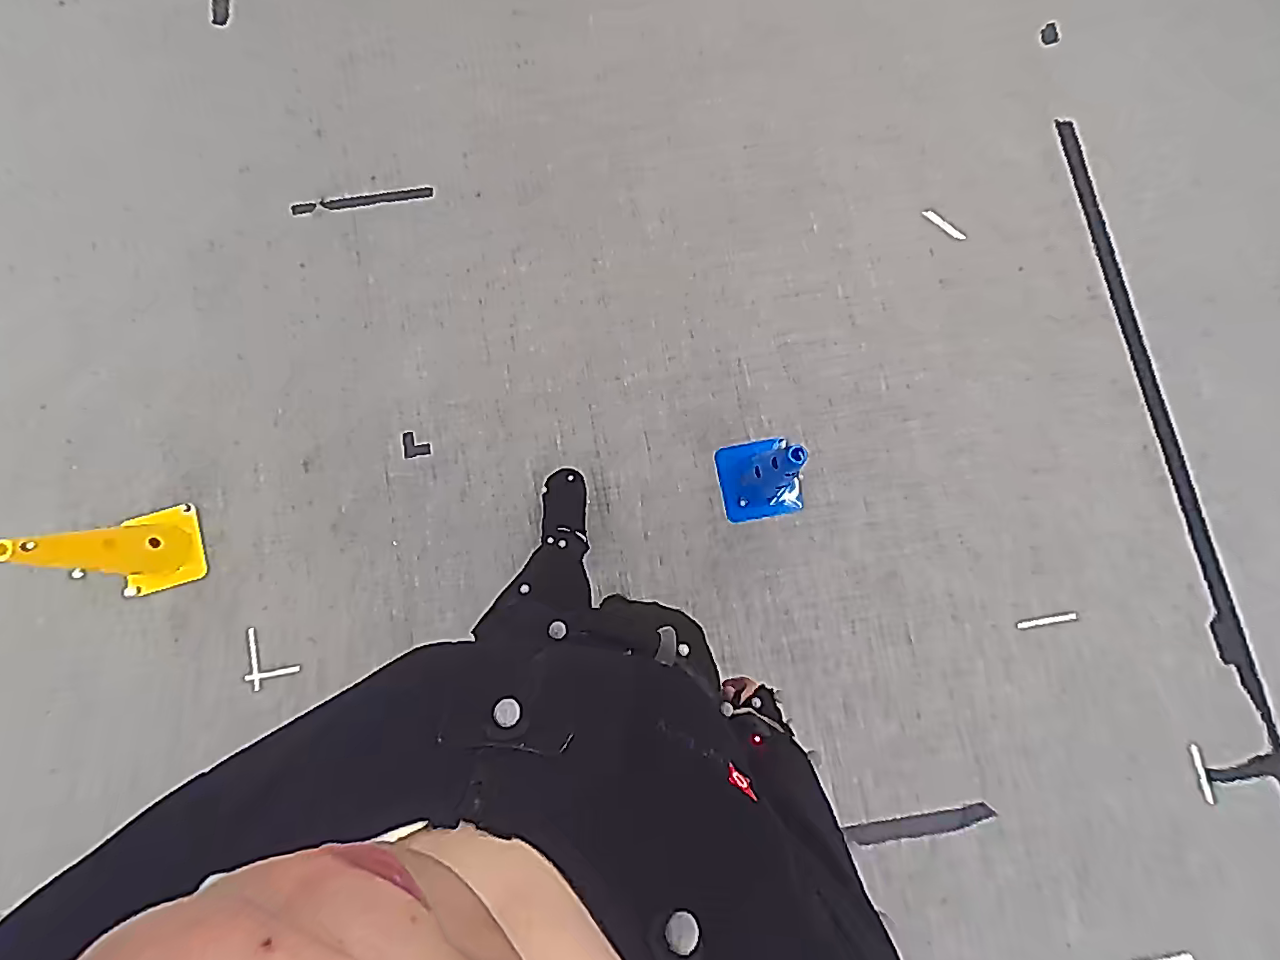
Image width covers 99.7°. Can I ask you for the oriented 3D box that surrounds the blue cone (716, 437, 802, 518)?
[{"bbox_3d":[0.301,-0.028,1.226,0.193,0.380,0.192,-9,81,-1],"label":"blue cone"}]
